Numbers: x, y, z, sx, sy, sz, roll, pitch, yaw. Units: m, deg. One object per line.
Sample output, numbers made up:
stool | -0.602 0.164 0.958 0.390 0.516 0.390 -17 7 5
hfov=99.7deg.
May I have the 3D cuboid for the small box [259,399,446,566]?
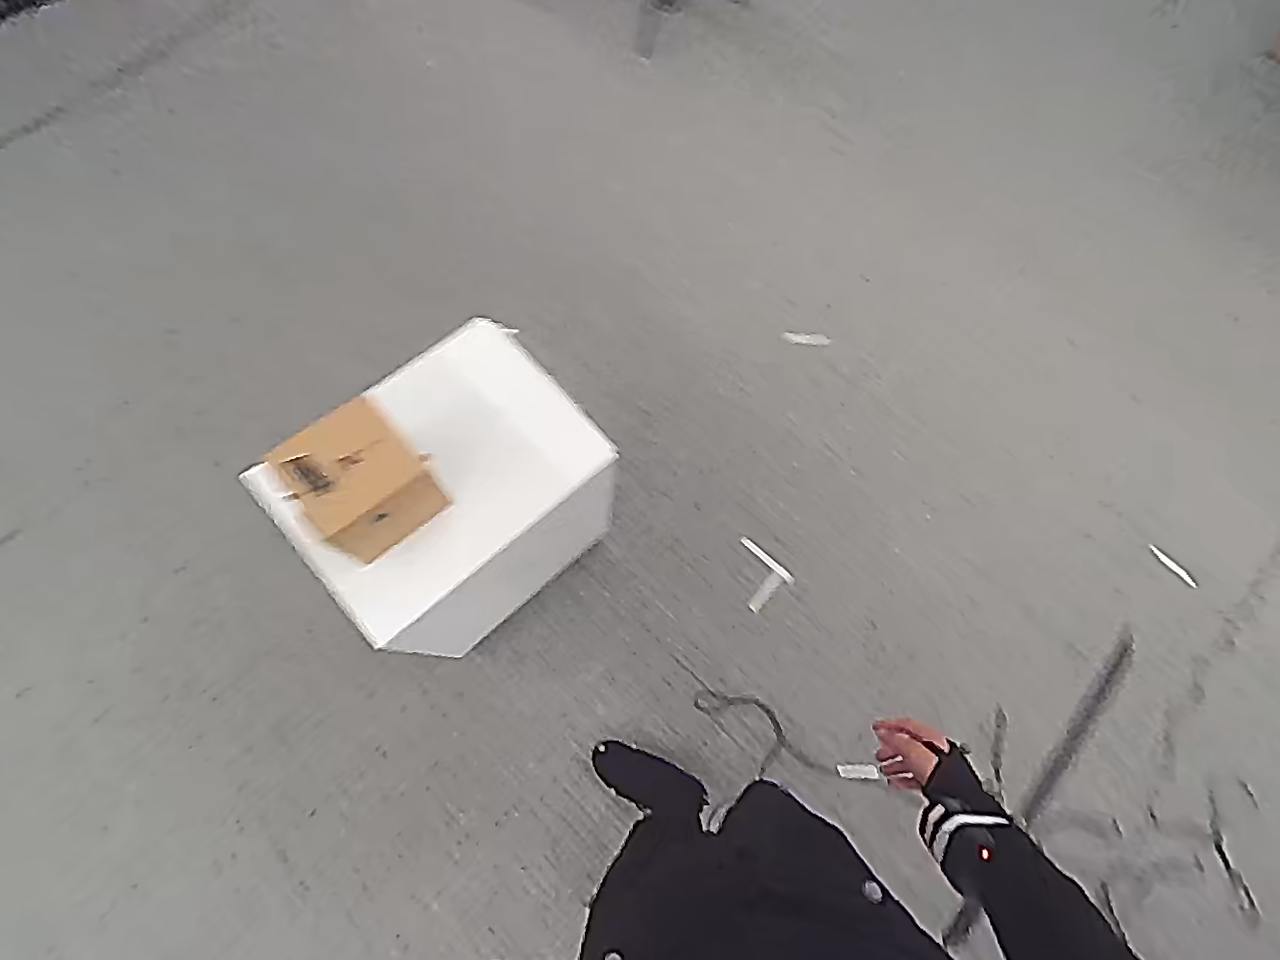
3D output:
small box | -0.439 0.013 0.859 0.179 0.176 0.168 -40 78 -18
